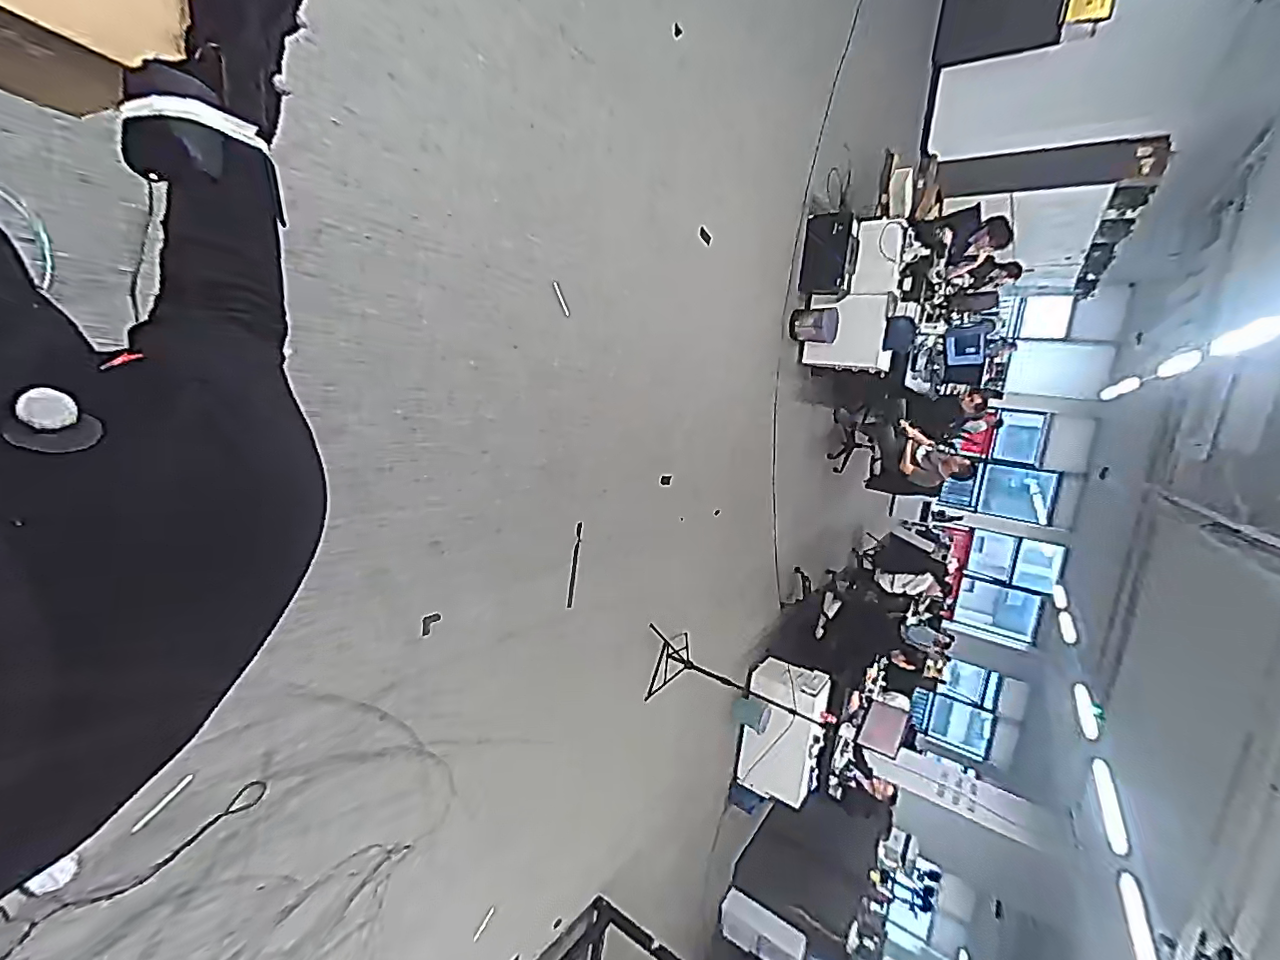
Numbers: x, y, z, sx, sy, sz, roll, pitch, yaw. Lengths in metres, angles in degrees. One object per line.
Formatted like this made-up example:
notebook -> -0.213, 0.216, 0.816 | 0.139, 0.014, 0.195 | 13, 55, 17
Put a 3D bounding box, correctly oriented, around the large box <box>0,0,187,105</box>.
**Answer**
large box -> -0.537, -0.481, 0.289 | 0.408, 0.320, 0.320 | 0, 108, -57
